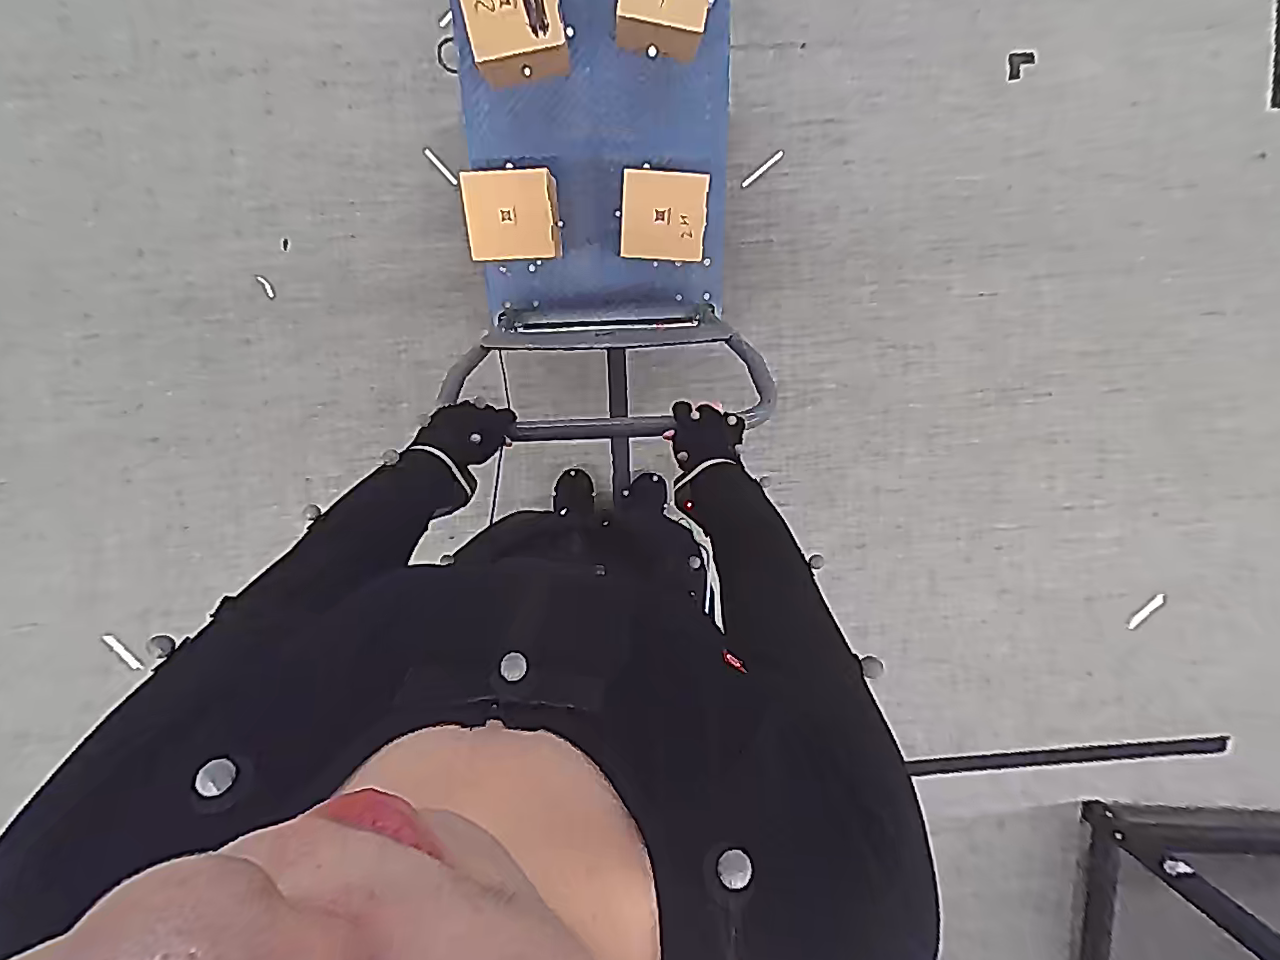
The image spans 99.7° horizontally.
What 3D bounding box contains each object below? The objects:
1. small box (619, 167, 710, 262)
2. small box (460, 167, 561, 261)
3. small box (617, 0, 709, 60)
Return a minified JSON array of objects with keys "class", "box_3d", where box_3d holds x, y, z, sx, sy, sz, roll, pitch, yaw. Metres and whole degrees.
[{"class":"small box","box_3d":[0.047,-0.573,1.183,0.179,0.176,0.168,3,112,-3]},{"class":"small box","box_3d":[-0.271,-0.569,1.172,0.179,0.176,0.168,-4,112,-3]},{"class":"small box","box_3d":[0.049,-0.947,1.031,0.168,0.176,0.179,8,113,-5]}]
